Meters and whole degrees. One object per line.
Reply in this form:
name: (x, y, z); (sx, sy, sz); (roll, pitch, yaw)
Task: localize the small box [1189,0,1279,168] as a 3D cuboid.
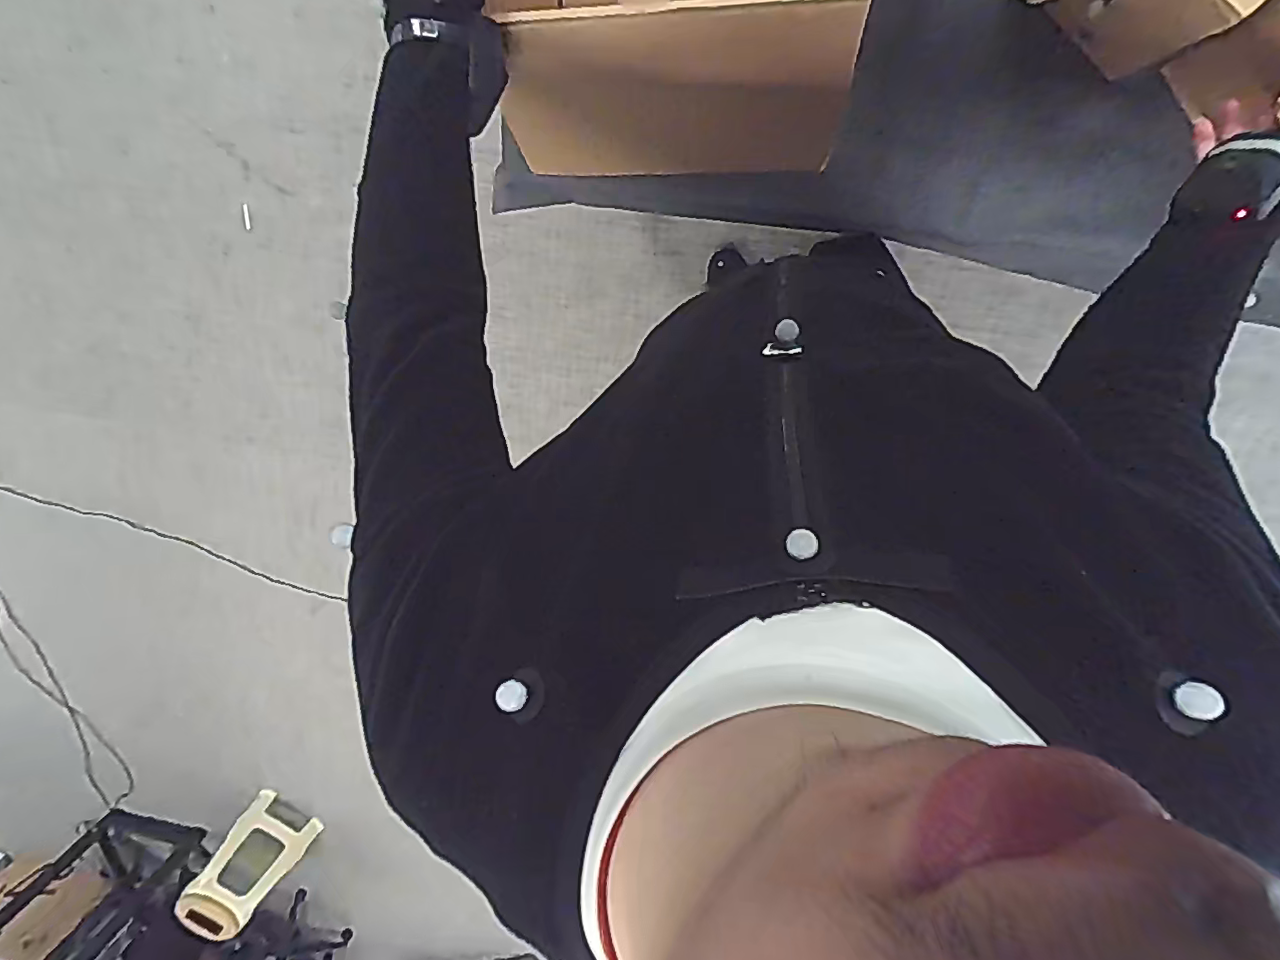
small box: (0.653, -0.409, 0.474); (0.179, 0.176, 0.168); (-40, 102, 23)
